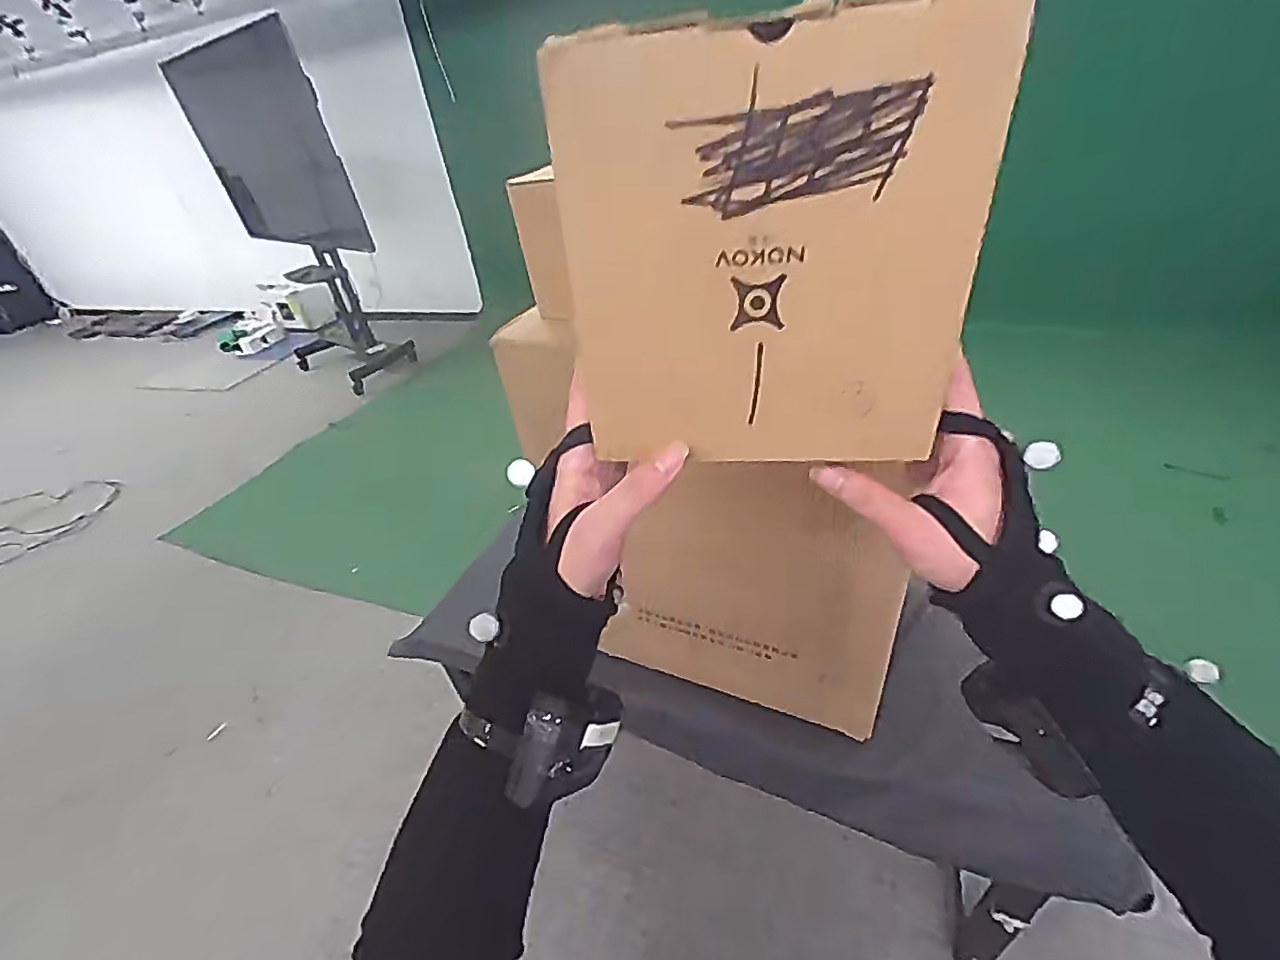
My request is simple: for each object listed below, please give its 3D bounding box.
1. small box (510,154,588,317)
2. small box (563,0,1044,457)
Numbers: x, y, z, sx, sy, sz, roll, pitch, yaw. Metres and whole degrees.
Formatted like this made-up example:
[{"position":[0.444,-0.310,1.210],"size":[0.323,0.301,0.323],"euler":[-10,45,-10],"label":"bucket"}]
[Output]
[{"position":[-0.030,-0.314,0.690],"size":[0.179,0.176,0.168],"euler":[11,43,23],"label":"small box"},{"position":[0.066,-0.128,0.295],"size":[0.168,0.179,0.176],"euler":[1,33,8],"label":"small box"}]
